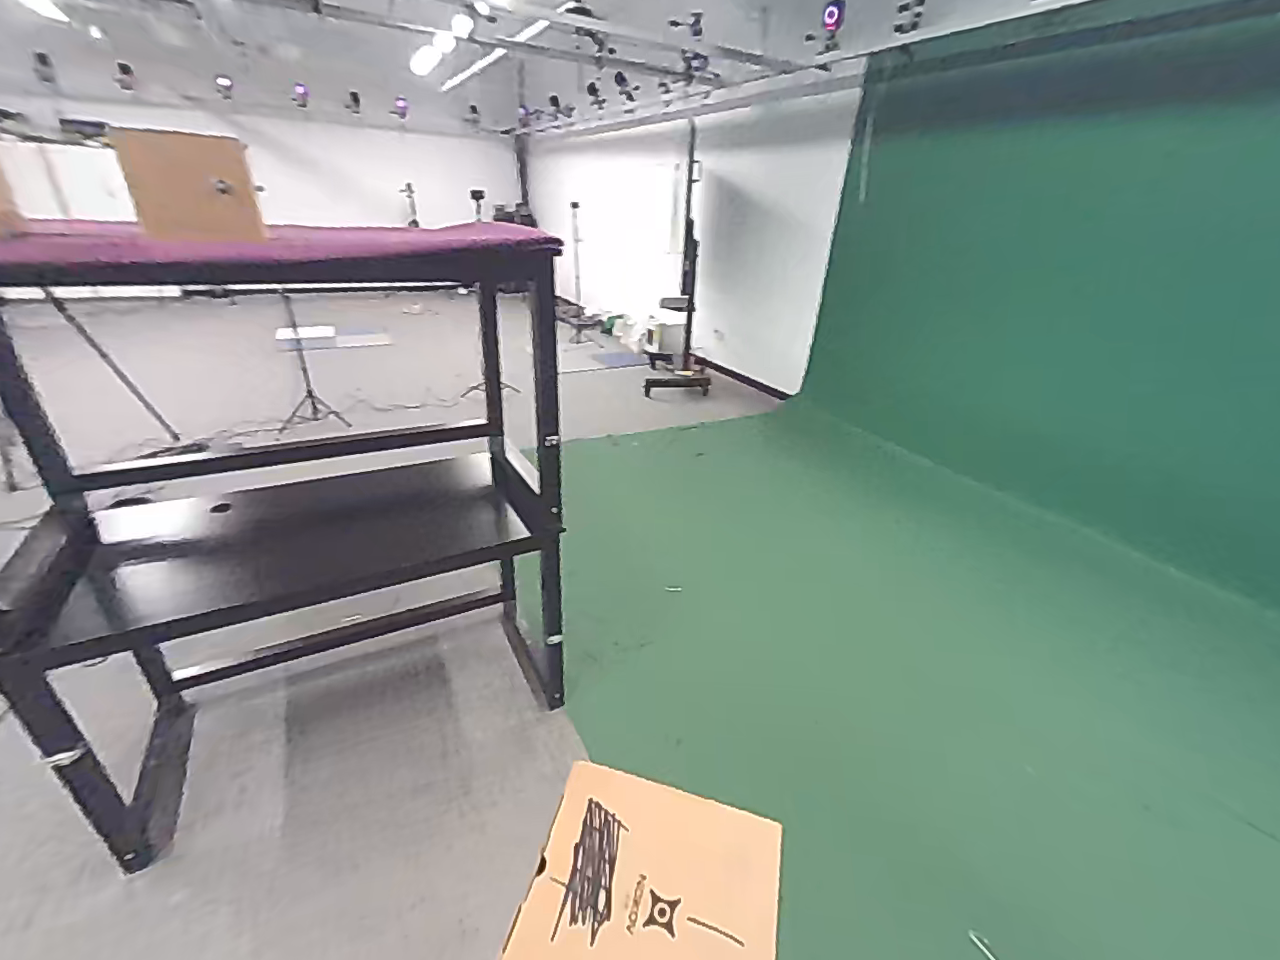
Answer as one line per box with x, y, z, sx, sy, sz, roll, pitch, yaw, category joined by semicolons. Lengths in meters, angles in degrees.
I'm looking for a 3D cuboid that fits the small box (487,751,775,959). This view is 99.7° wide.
-0.004;0.359;0.428;0.179;0.176;0.168;14;35;10;small box

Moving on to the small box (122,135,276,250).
-0.788;-0.521;0.991;0.179;0.176;0.168;-13;30;-27;small box

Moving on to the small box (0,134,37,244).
-1.072;-0.452;0.812;0.168;0.176;0.179;-11;30;-29;small box
